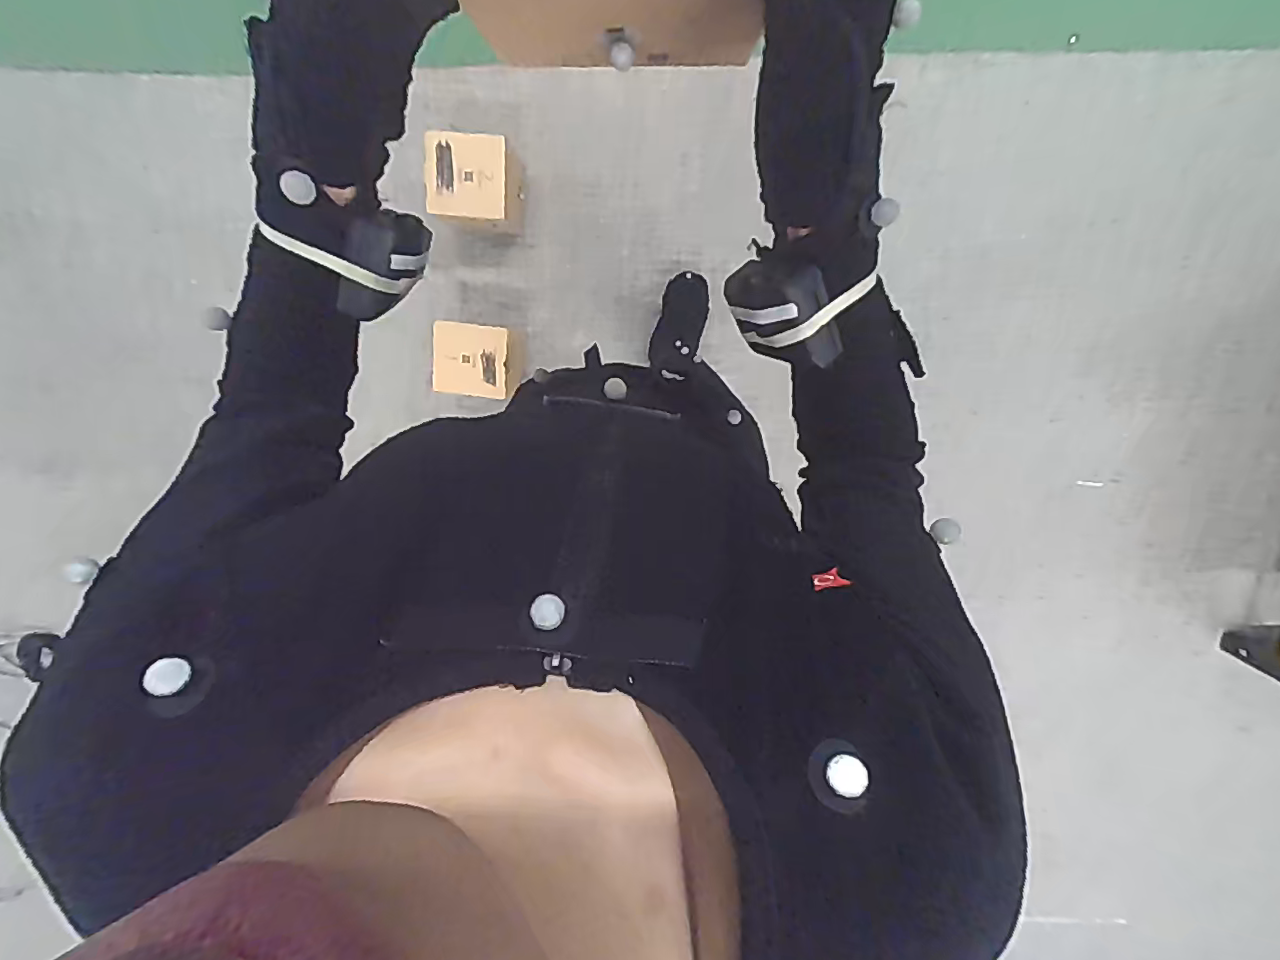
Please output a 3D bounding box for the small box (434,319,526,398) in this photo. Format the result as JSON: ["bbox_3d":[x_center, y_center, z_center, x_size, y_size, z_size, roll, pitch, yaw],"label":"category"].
[{"bbox_3d":[-0.387,-0.301,1.330,0.179,0.176,0.168,7,104,1],"label":"small box"}]
